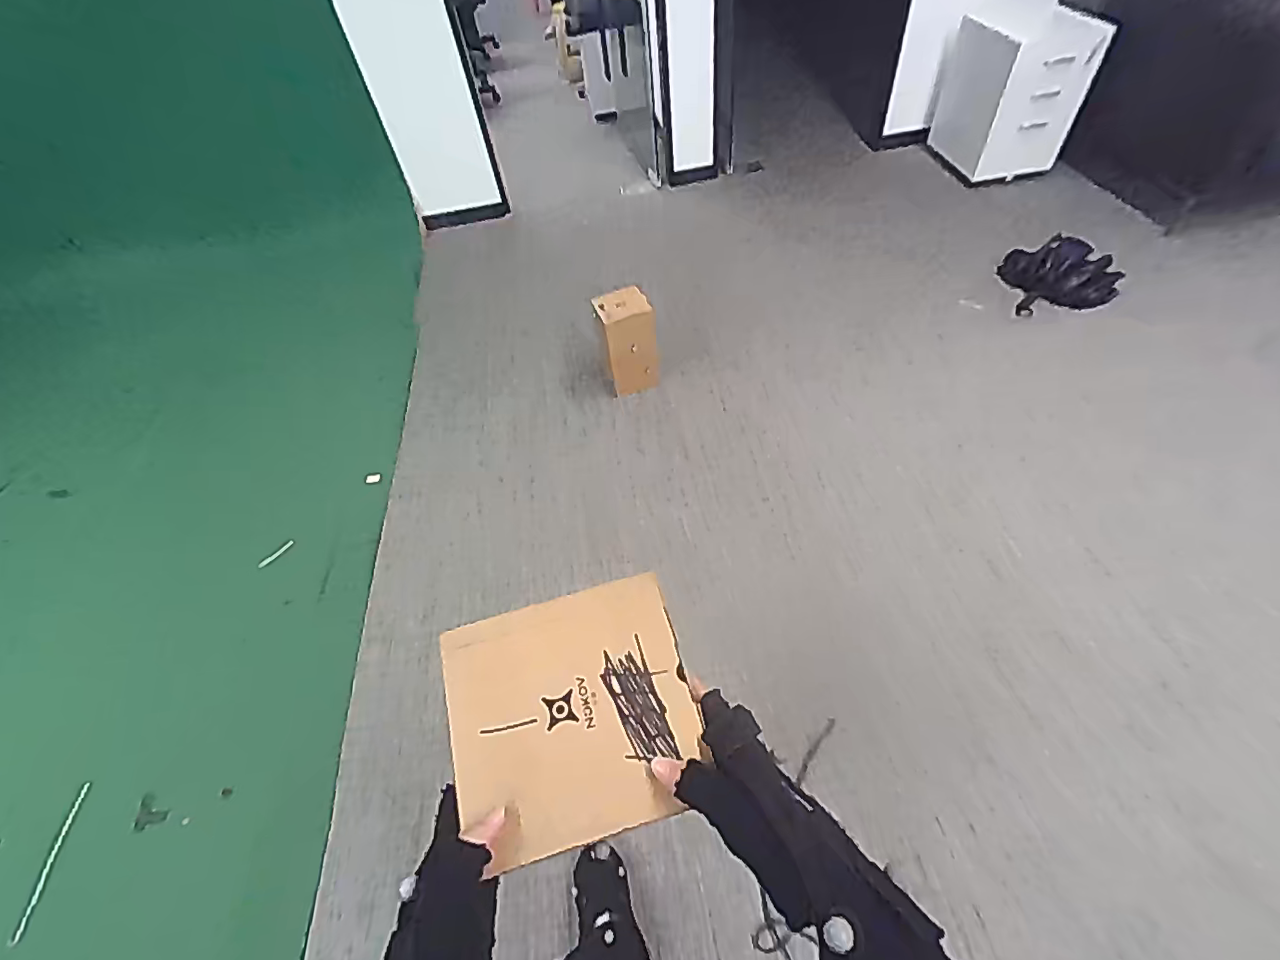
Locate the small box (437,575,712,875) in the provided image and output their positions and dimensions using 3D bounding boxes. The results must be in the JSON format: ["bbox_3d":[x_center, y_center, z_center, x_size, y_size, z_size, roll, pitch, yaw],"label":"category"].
[{"bbox_3d":[-0.053,0.203,0.462,0.179,0.176,0.168,-15,61,-6],"label":"small box"}]

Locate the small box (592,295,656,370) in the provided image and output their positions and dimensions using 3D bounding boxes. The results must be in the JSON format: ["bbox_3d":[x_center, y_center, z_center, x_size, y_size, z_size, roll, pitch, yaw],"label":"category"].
[{"bbox_3d":[-0.052,-0.525,1.930,0.179,0.176,0.168,-22,53,-9],"label":"small box"}]

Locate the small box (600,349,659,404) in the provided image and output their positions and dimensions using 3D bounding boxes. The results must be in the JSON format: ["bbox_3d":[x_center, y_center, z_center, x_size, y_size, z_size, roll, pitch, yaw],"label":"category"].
[{"bbox_3d":[-0.035,-0.421,2.053,0.179,0.176,0.168,-21,51,-8],"label":"small box"}]
